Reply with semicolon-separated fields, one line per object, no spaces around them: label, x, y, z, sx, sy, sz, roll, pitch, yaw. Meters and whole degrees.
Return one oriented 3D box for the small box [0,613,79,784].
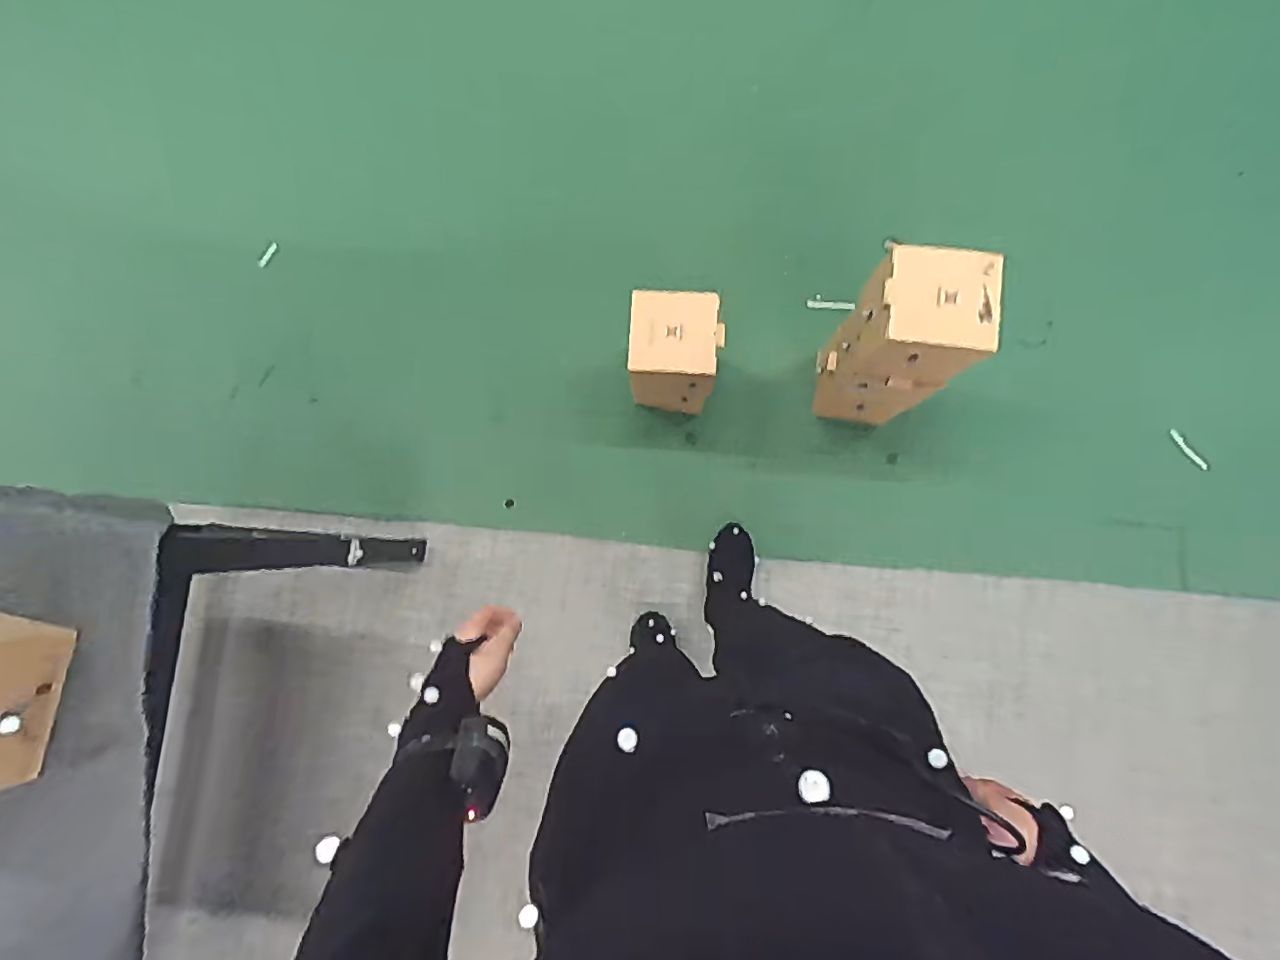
small box;-0.743;0.229;0.539;0.179;0.176;0.168;10;84;6

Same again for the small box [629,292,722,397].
small box;0.074;-0.277;1.136;0.179;0.176;0.168;3;83;4

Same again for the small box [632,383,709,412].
small box;0.085;-0.268;1.298;0.179;0.176;0.168;11;84;5

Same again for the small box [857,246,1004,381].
small box;0.498;-0.283;0.949;0.179;0.176;0.168;8;83;5

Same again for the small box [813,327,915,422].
small box;0.526;-0.240;1.274;0.179;0.176;0.168;9;84;4
